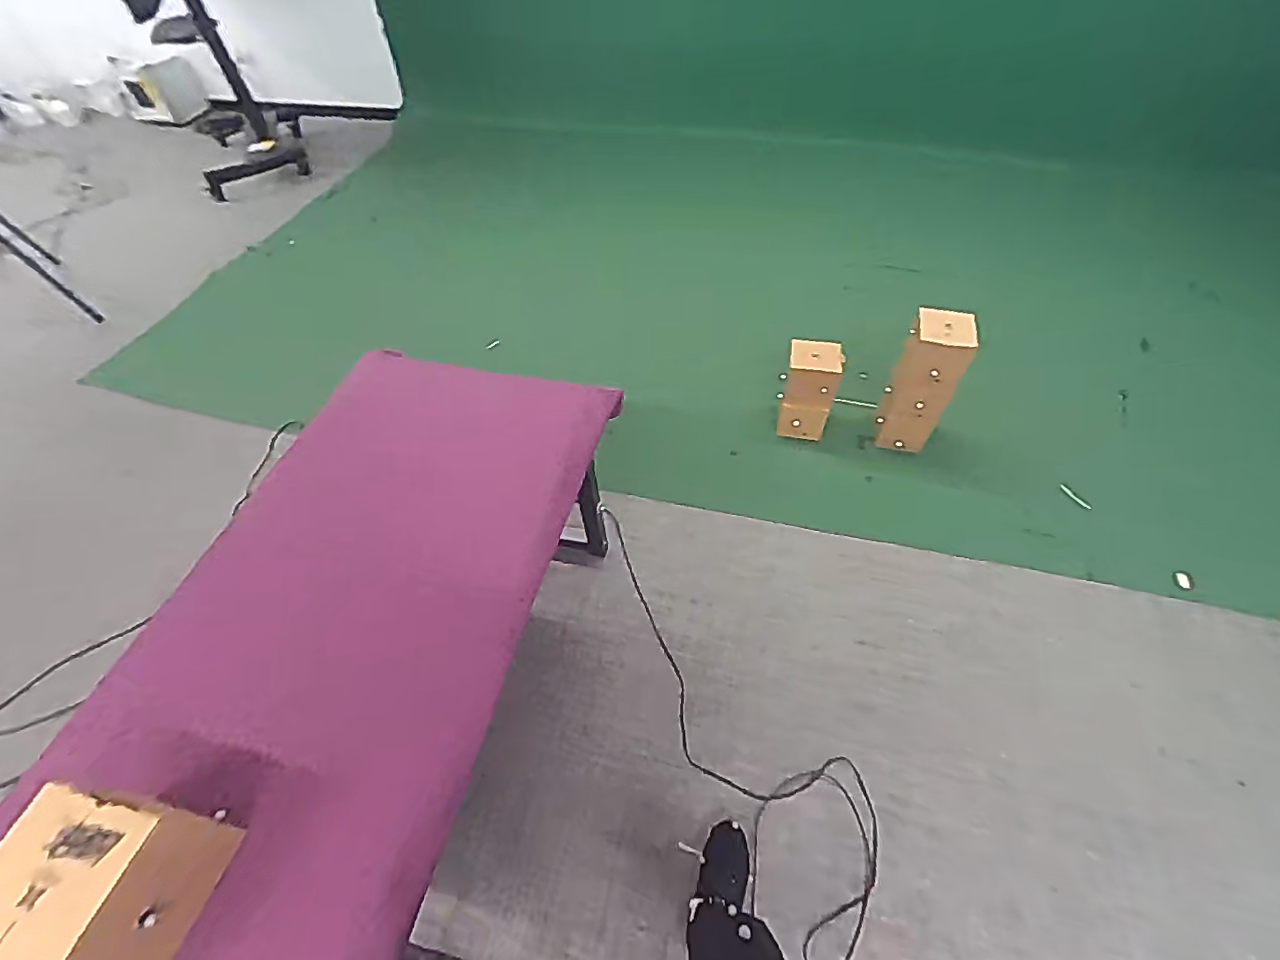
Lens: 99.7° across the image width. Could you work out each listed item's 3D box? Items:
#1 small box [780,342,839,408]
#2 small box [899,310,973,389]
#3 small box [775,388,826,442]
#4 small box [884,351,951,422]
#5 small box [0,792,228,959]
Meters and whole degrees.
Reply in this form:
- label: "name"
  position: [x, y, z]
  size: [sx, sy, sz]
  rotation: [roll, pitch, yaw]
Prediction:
- label: "small box"
  position: [0.615, -0.379, 1.968]
  size: [0.179, 0.176, 0.168]
  rotation: [8, 52, 9]
- label: "small box"
  position: [0.966, -0.430, 1.778]
  size: [0.168, 0.176, 0.179]
  rotation: [12, 55, 12]
- label: "small box"
  position: [0.617, -0.267, 2.087]
  size: [0.168, 0.176, 0.179]
  rotation: [8, 52, 9]
- label: "small box"
  position: [0.975, -0.328, 1.908]
  size: [0.168, 0.176, 0.179]
  rotation: [11, 55, 10]
- label: "small box"
  position: [-0.645, 0.499, 0.641]
  size: [0.168, 0.176, 0.179]
  rotation: [10, 54, 10]
